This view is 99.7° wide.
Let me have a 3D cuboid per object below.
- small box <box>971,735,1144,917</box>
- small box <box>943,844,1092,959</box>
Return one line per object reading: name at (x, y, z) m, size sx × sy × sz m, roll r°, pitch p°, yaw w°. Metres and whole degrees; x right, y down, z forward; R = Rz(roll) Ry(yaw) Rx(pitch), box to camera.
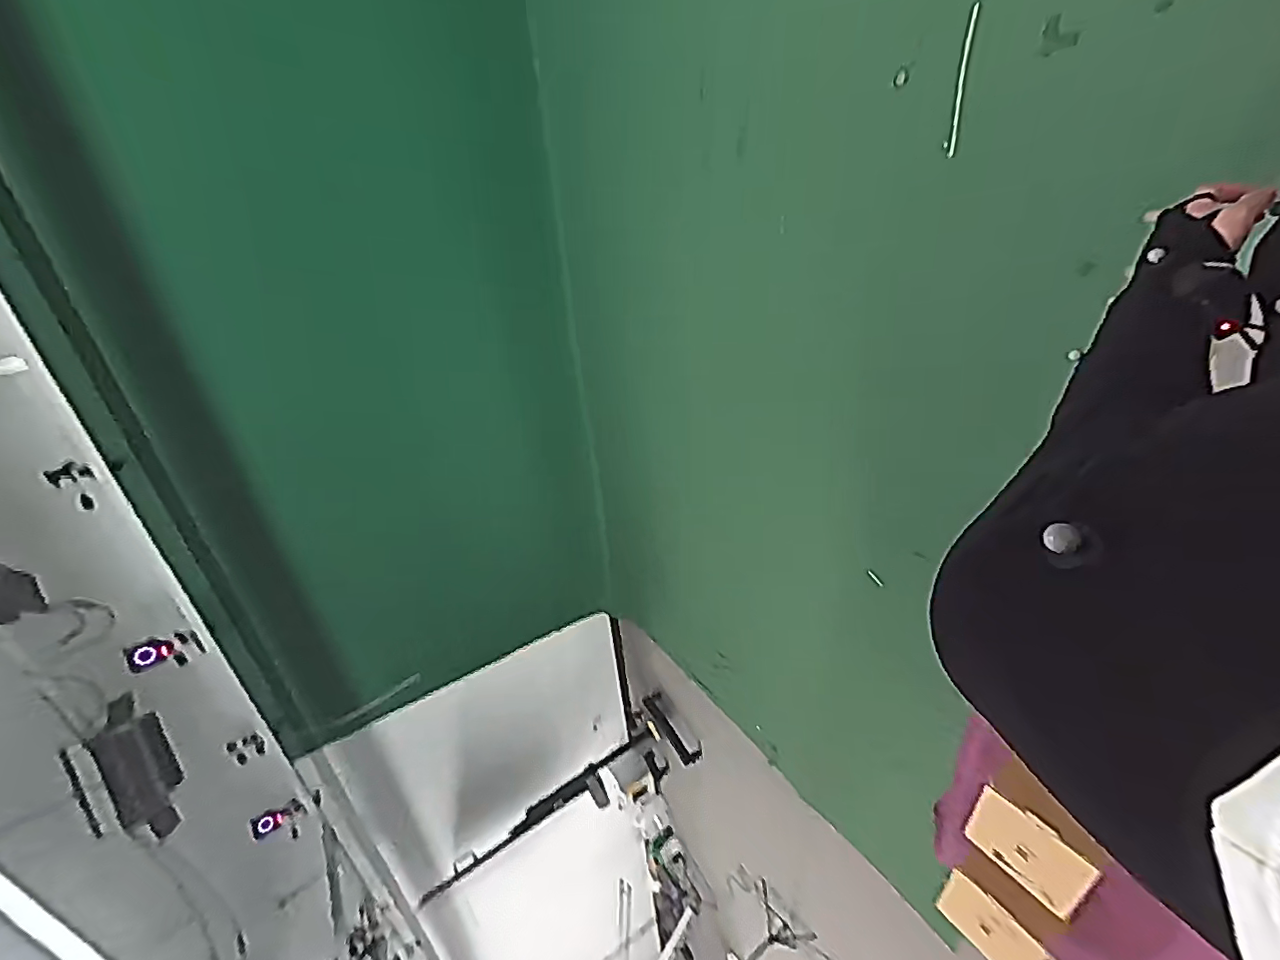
small box at (0.720, 0.587, 0.937) m, size 0.168 × 0.176 × 0.179 m, roll 36°, pitch 140°, yaw 47°
small box at (0.745, 0.828, 1.071) m, size 0.168 × 0.176 × 0.179 m, roll 35°, pitch 138°, yaw 47°
